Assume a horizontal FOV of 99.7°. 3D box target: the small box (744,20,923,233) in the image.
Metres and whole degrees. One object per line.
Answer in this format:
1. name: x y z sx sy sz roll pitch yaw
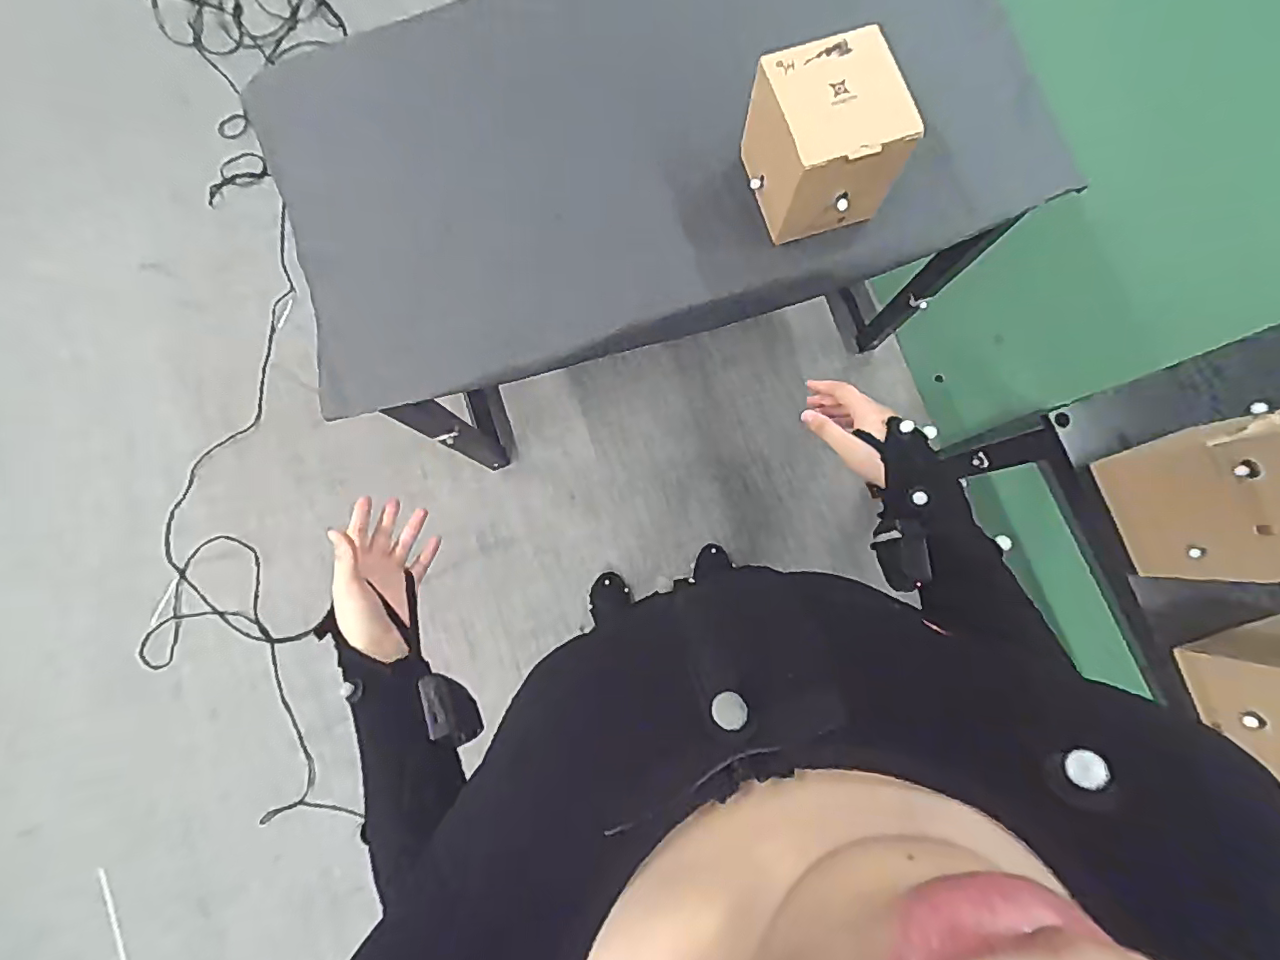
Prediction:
1. small box: 0.260 -0.482 0.770 0.168 0.176 0.179 -17 81 0

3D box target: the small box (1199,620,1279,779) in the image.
1. small box: 0.855 0.276 0.660 0.179 0.176 0.168 -17 83 -1

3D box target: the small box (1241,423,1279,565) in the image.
1. small box: 0.769 0.000 0.531 0.179 0.176 0.168 -17 84 -2
